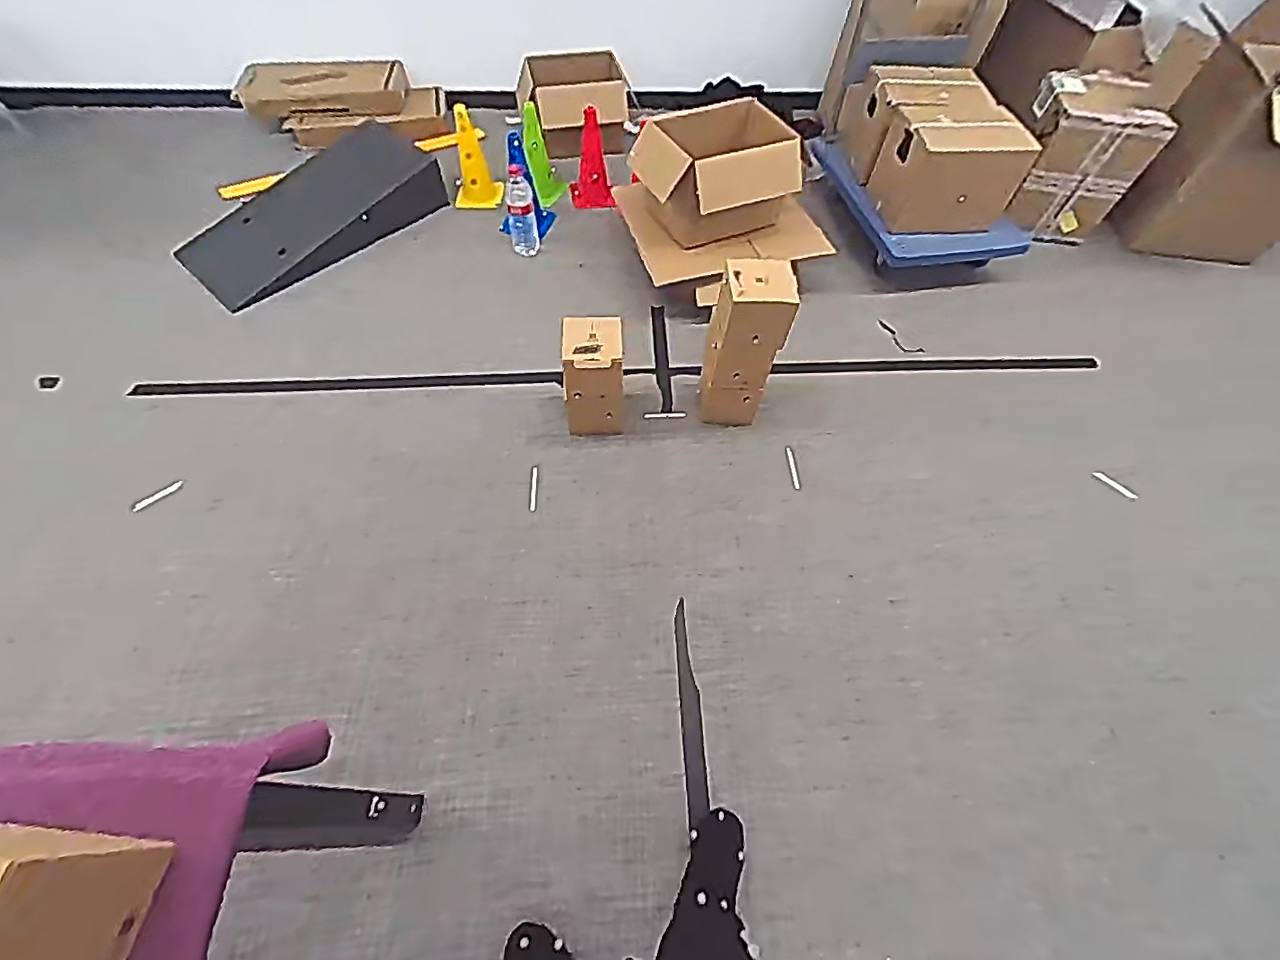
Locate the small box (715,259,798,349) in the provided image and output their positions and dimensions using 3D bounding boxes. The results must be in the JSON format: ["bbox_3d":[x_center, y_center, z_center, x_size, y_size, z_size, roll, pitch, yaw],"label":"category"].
[{"bbox_3d":[0.310,-0.474,1.471,0.179,0.176,0.168,1,59,-4],"label":"small box"}]

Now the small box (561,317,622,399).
[{"bbox_3d":[-0.137,-0.347,1.566,0.168,0.176,0.179,-1,57,-3],"label":"small box"}]

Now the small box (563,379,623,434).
[{"bbox_3d":[-0.148,-0.260,1.705,0.179,0.176,0.168,-4,57,-4],"label":"small box"}]

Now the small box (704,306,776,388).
[{"bbox_3d":[0.291,-0.395,1.614,0.168,0.176,0.179,-1,59,-4],"label":"small box"}]

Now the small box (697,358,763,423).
[{"bbox_3d":[0.286,-0.298,1.745,0.179,0.176,0.168,2,58,-2],"label":"small box"}]
